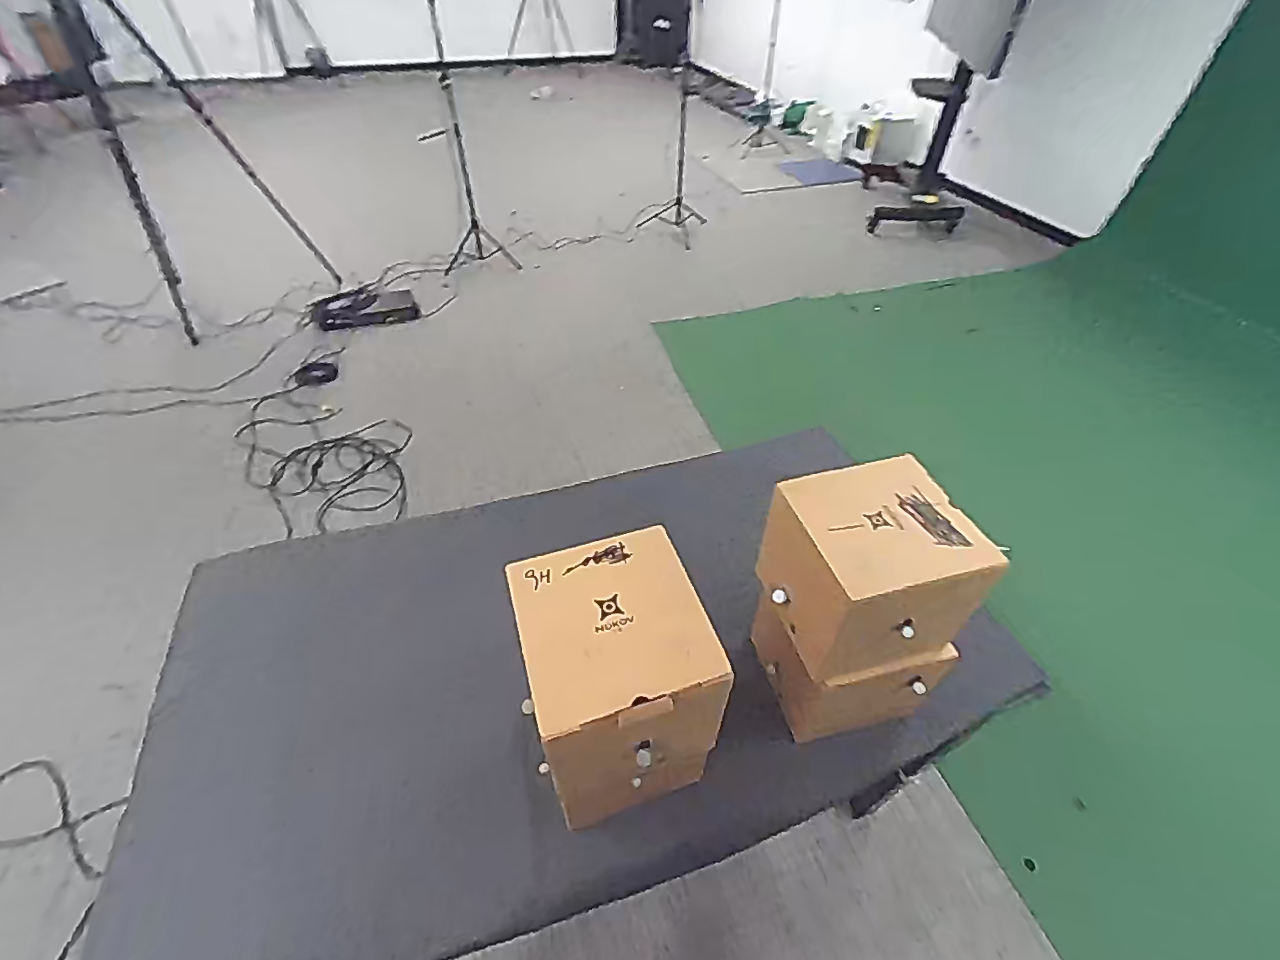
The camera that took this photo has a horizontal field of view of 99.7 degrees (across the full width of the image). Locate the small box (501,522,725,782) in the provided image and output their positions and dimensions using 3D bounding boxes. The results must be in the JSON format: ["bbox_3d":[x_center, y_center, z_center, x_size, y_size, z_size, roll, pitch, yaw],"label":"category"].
[{"bbox_3d":[-0.031,0.174,0.538,0.168,0.176,0.179,-13,48,-13],"label":"small box"}]

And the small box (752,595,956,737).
[{"bbox_3d":[0.268,0.218,0.727,0.179,0.176,0.168,-10,45,-10],"label":"small box"}]

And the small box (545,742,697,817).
[{"bbox_3d":[-0.035,0.282,0.663,0.179,0.176,0.168,-12,48,-15],"label":"small box"}]

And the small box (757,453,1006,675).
[{"bbox_3d":[0.252,0.096,0.617,0.179,0.176,0.168,-11,46,-10],"label":"small box"}]
